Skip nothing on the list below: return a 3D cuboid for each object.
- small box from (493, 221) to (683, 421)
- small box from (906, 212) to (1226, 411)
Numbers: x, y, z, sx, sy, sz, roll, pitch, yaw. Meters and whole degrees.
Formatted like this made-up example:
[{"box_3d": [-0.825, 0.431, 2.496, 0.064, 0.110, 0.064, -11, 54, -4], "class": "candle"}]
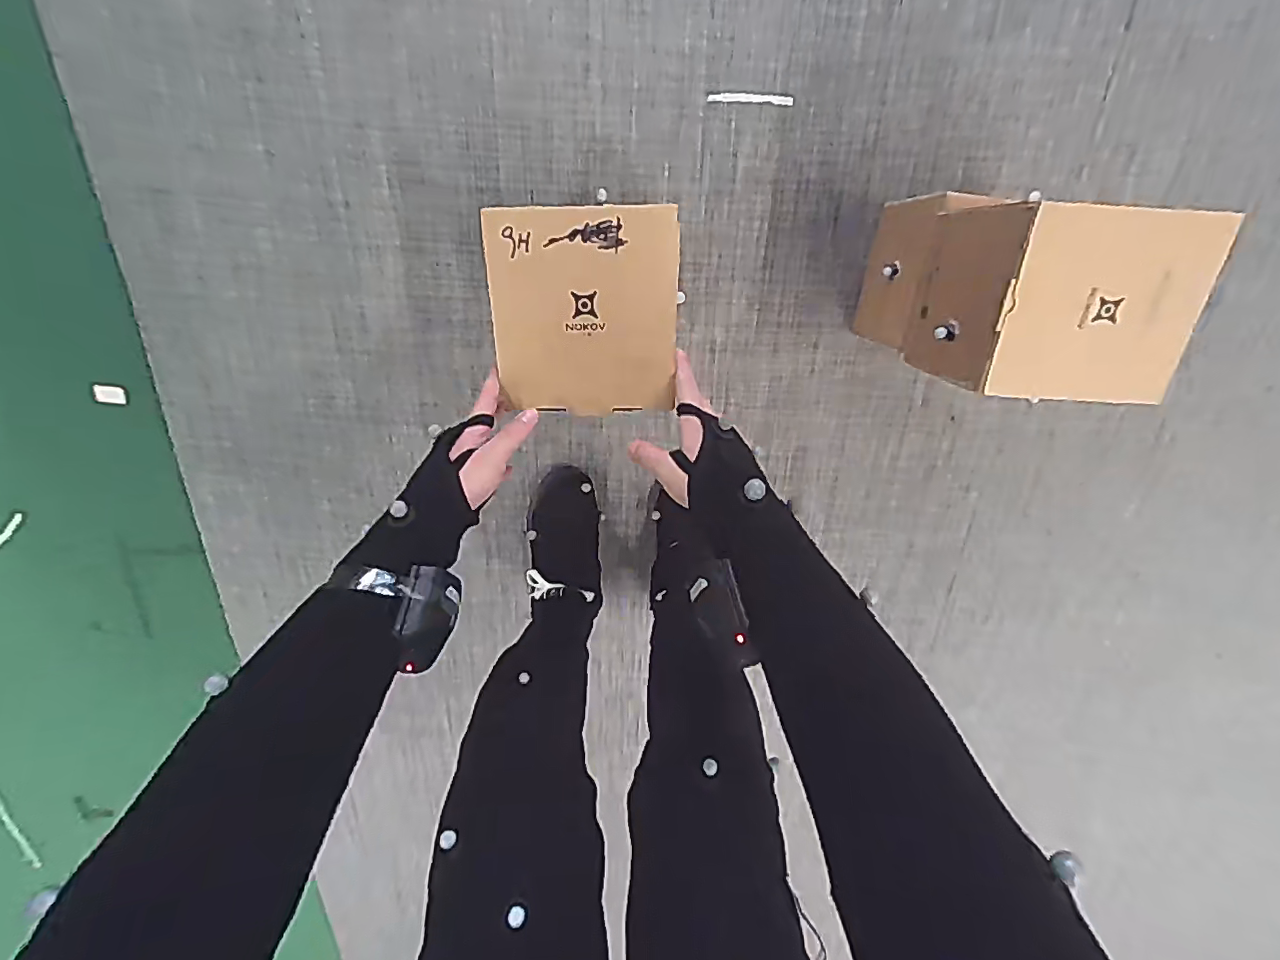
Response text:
[{"box_3d": [-0.043, -0.167, 0.563, 0.168, 0.176, 0.179, 0, 110, 1], "class": "small box"}, {"box_3d": [0.410, -0.176, 0.563, 0.179, 0.176, 0.168, 2, 112, -2], "class": "small box"}]
